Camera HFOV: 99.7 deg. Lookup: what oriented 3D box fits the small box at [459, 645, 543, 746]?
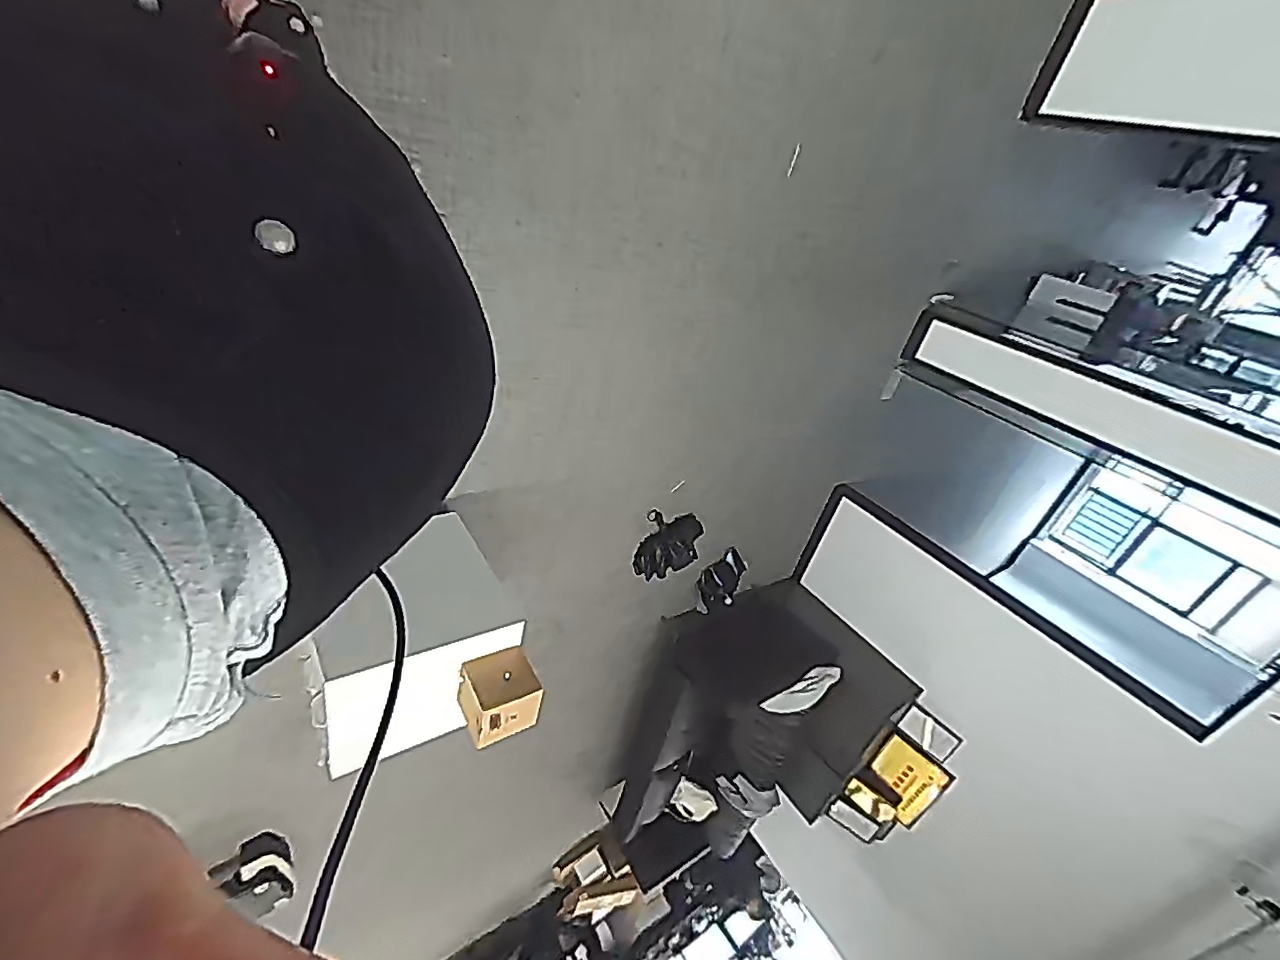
[{"bbox_3d":[-0.400,0.603,1.531,0.179,0.176,0.168,-10,129,-37],"label":"small box"}]
